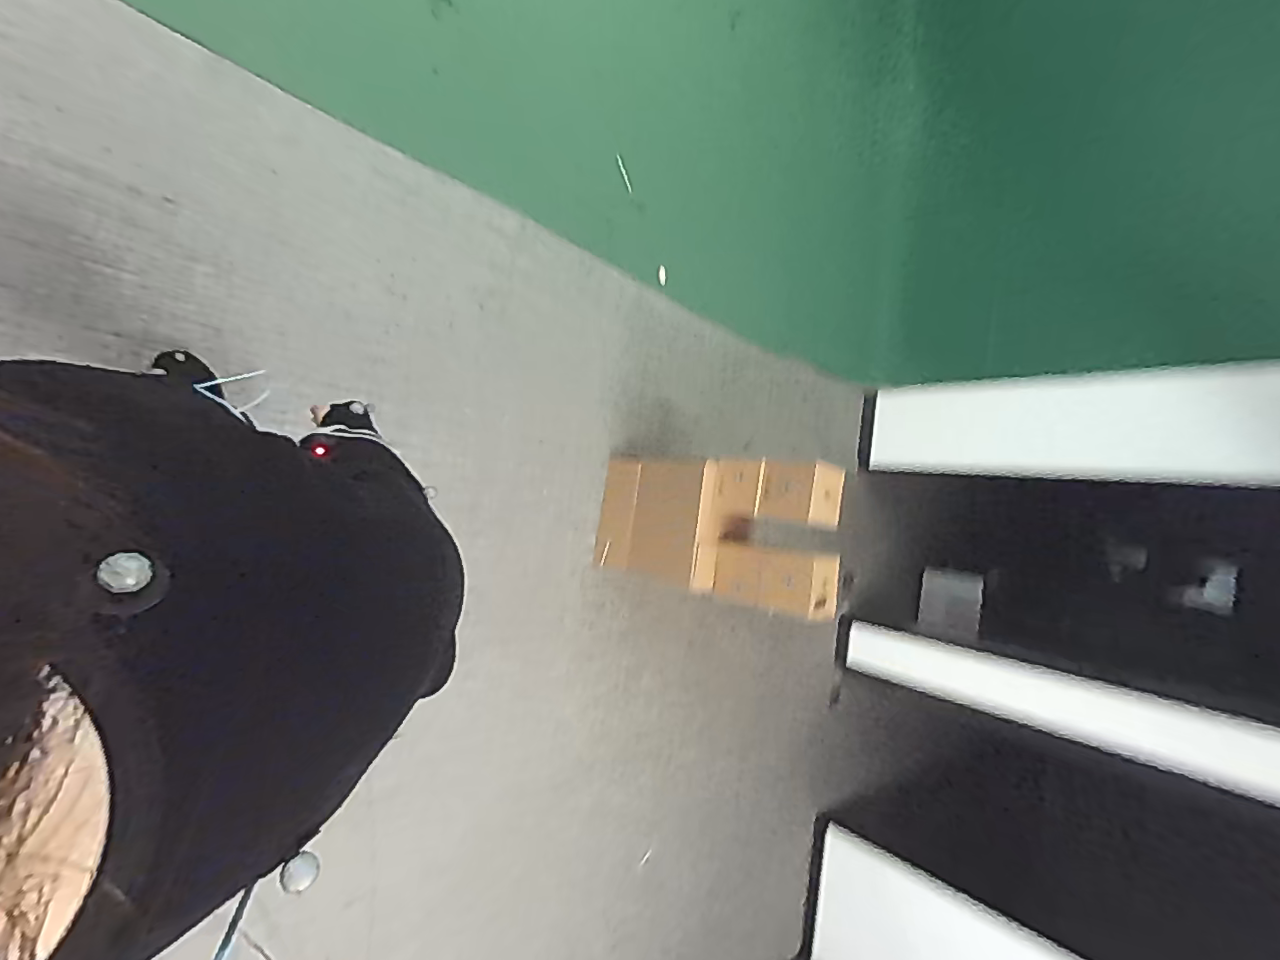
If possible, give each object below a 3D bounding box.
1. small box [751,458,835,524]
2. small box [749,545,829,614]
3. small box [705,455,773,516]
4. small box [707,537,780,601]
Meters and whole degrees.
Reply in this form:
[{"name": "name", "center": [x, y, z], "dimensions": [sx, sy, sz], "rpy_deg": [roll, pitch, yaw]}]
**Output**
[{"name": "small box", "center": [0.452, 0.030, 1.604], "dimensions": [0.179, 0.176, 0.168], "rpy_deg": [14, 85, -44]}, {"name": "small box", "center": [0.446, 0.296, 1.626], "dimensions": [0.168, 0.176, 0.179], "rpy_deg": [10, 85, -45]}, {"name": "small box", "center": [0.328, 0.017, 1.713], "dimensions": [0.179, 0.176, 0.168], "rpy_deg": [12, 87, -44]}, {"name": "small box", "center": [0.332, 0.285, 1.743], "dimensions": [0.168, 0.176, 0.179], "rpy_deg": [8, 86, -45]}]
